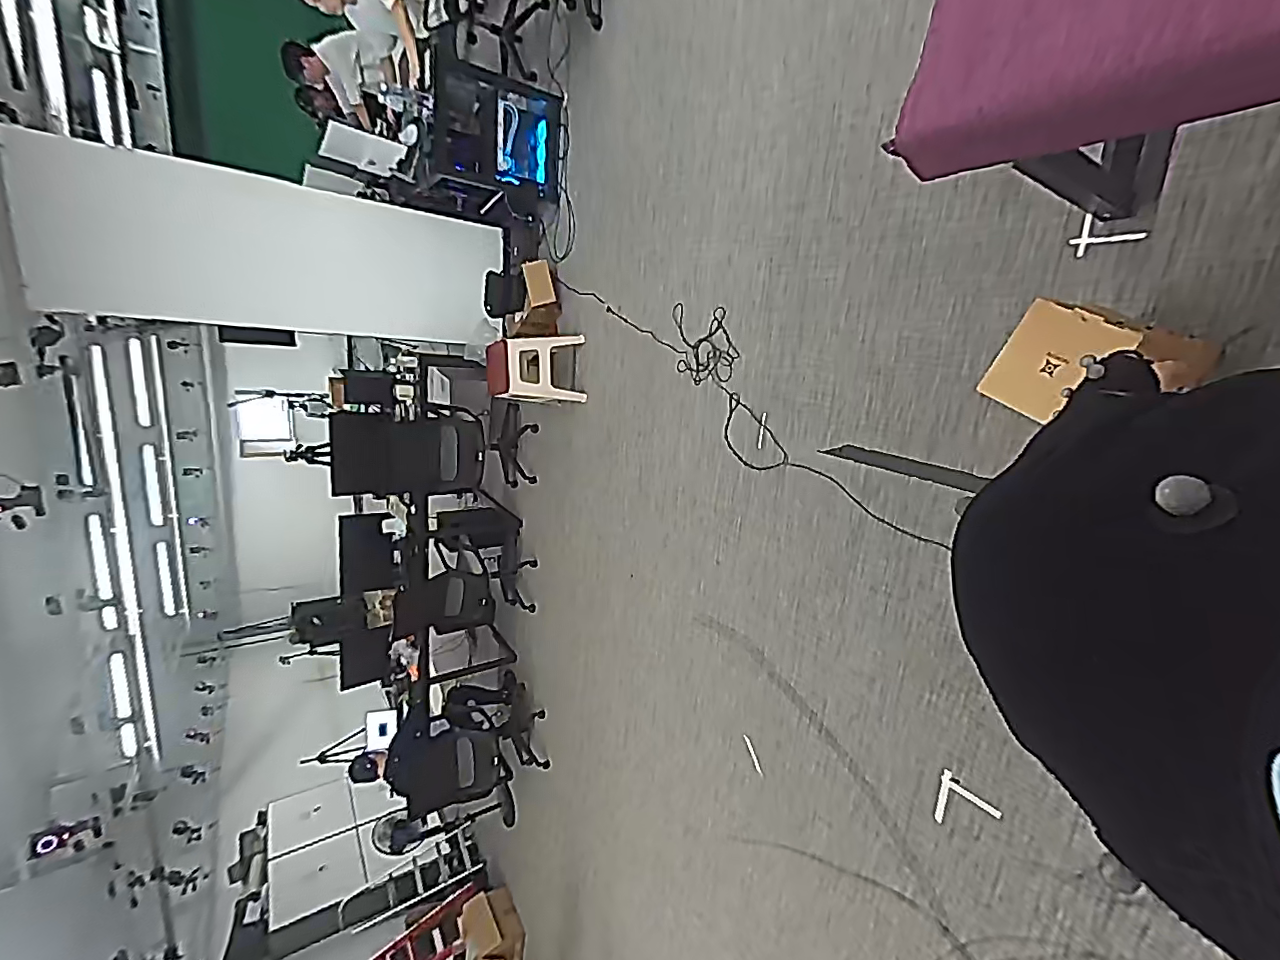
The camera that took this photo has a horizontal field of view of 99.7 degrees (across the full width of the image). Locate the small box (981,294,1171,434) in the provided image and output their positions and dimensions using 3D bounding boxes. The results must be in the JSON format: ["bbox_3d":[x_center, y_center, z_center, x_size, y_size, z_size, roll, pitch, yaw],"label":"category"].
[{"bbox_3d":[0.740,-0.195,0.919,0.168,0.176,0.179,49,132,41],"label":"small box"}]

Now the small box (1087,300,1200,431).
[{"bbox_3d":[0.876,-0.211,1.006,0.168,0.176,0.179,56,137,36],"label":"small box"}]
